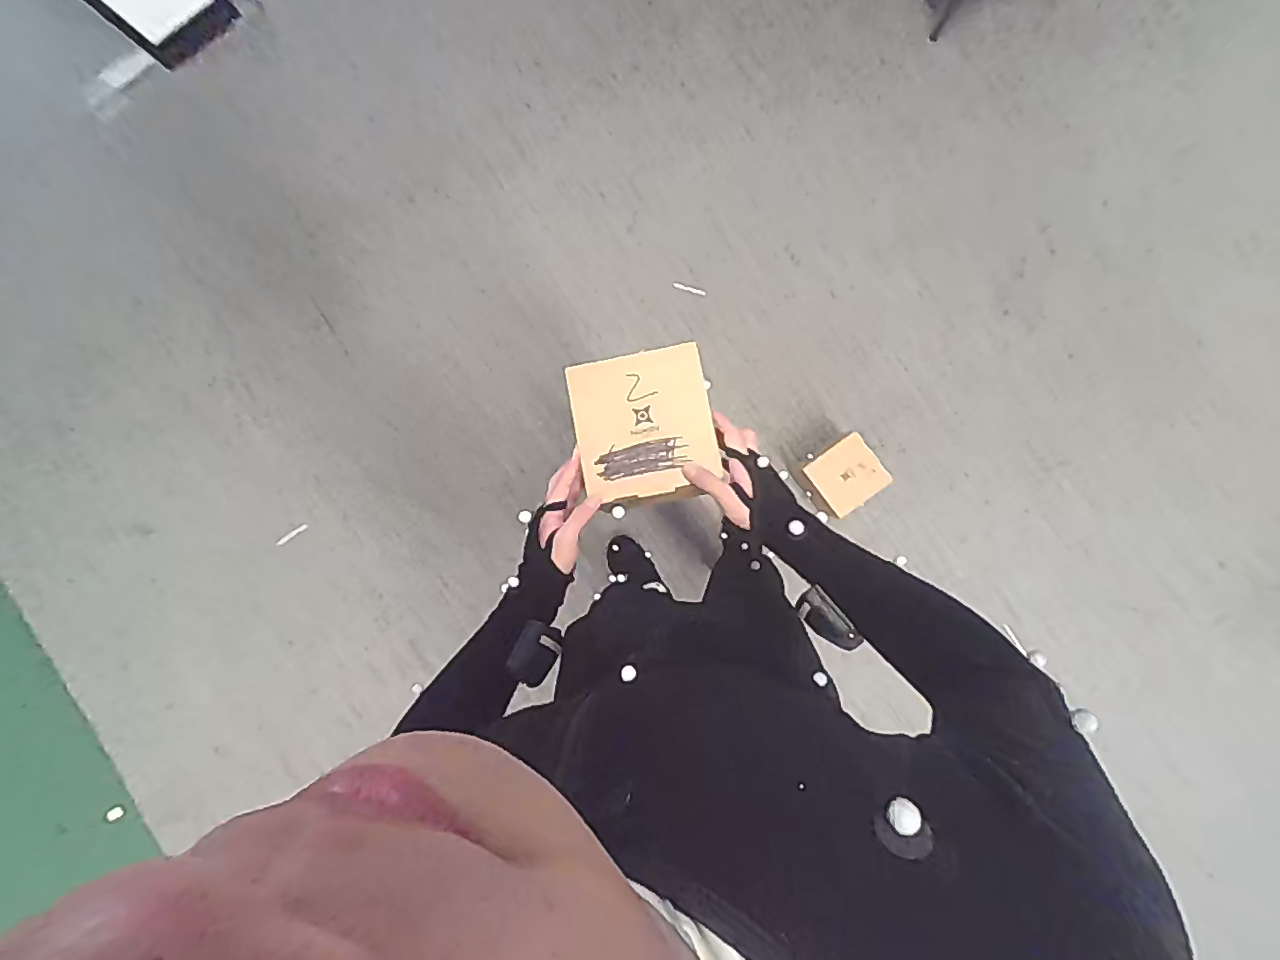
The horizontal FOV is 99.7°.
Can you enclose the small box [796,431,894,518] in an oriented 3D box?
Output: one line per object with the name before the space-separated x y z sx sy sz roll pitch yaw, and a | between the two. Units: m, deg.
small box | 0.549 -0.014 1.483 0.179 0.176 0.168 -37 88 2
